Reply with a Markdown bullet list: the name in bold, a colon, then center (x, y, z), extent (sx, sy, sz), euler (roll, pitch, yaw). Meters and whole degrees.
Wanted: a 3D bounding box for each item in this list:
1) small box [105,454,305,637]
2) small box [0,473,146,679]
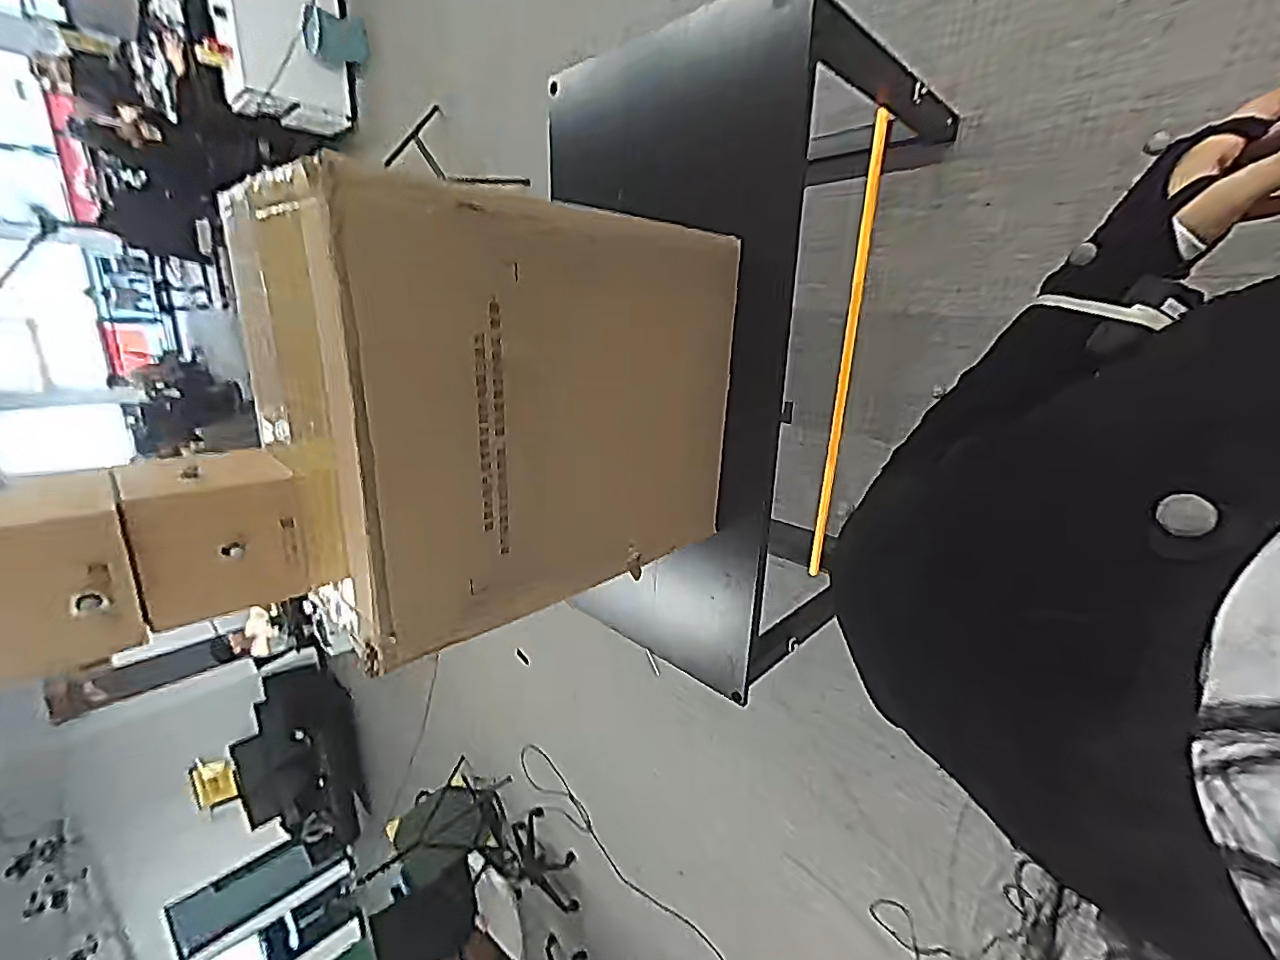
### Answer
- **small box**: center (-0.550, 0.068, 0.699), extent (0.179, 0.176, 0.168), euler (18, 112, 42)
- **small box**: center (-0.655, 0.098, 0.576), extent (0.179, 0.176, 0.168), euler (20, 115, 41)
